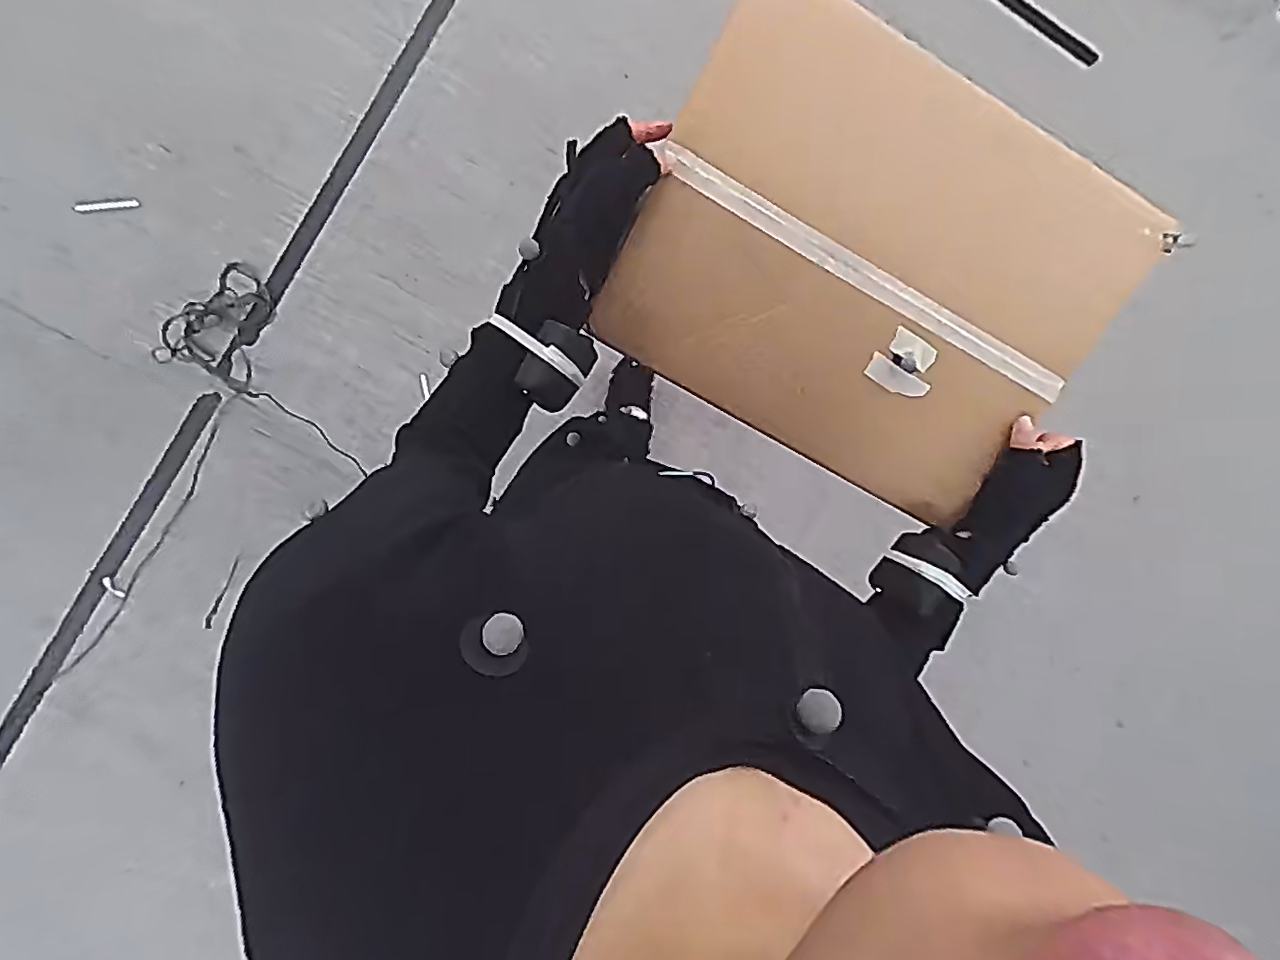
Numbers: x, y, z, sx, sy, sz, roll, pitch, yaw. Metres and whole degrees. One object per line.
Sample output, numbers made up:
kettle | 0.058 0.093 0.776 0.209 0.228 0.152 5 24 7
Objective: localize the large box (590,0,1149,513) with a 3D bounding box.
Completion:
large box | 0.195 -0.223 0.621 0.408 0.320 0.320 28 105 -8
